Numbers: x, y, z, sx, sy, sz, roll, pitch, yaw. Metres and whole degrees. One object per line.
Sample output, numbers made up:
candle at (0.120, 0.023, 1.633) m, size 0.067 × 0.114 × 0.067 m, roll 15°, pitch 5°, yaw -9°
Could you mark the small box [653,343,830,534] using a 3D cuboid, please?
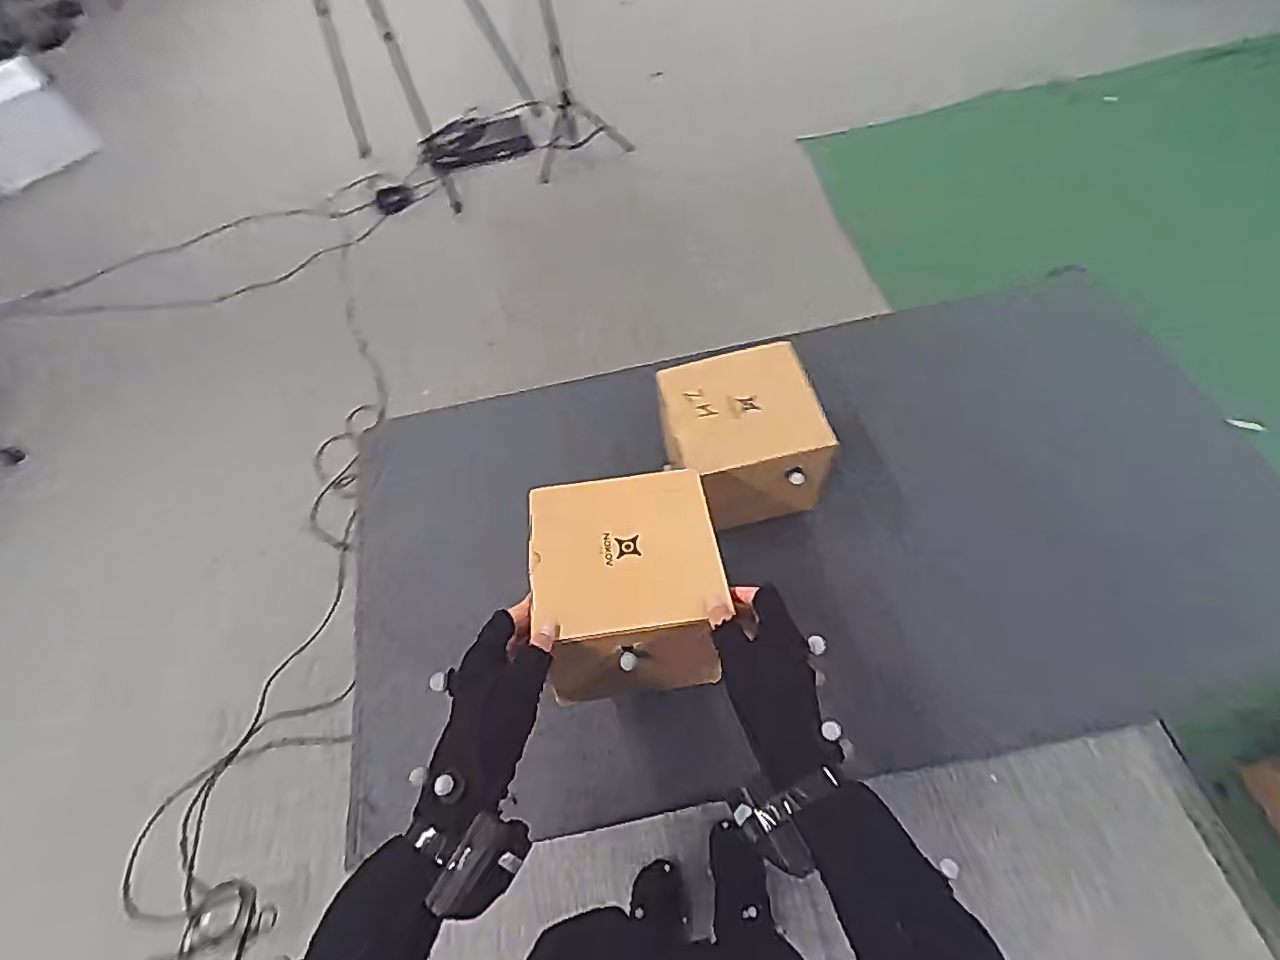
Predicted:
small box at (0.123, -0.049, 0.716) m, size 0.179 × 0.176 × 0.168 m, roll -14°, pitch 60°, yaw 0°
